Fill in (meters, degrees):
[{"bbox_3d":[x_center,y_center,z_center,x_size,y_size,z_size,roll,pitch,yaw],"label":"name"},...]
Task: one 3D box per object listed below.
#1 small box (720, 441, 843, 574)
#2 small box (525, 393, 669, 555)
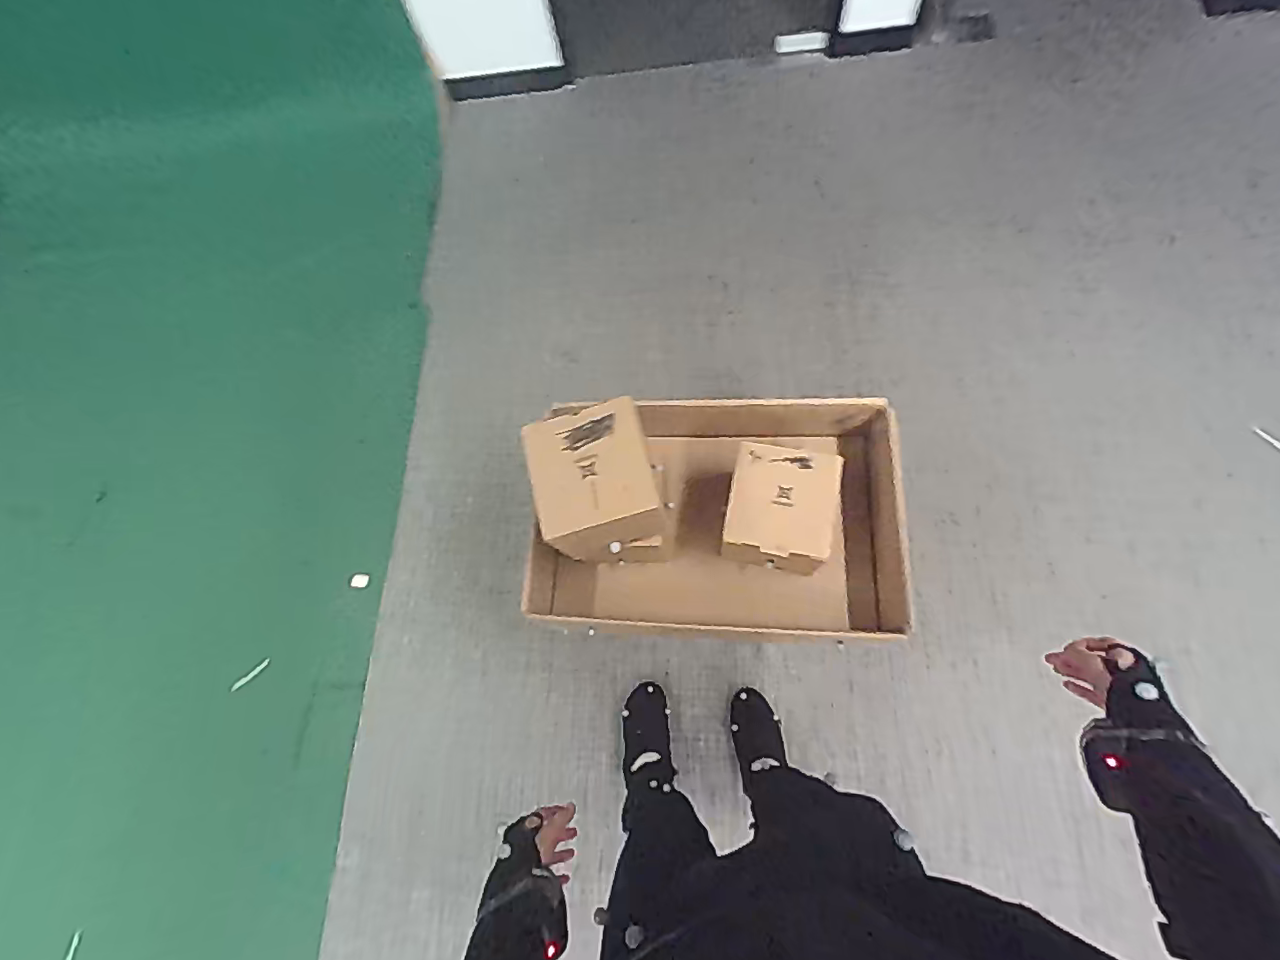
[{"bbox_3d":[0.236,0.055,0.931,0.168,0.176,0.179,12,74,10],"label":"small box"},{"bbox_3d":[-0.059,0.000,0.816,0.168,0.176,0.179,-15,71,3],"label":"small box"}]
